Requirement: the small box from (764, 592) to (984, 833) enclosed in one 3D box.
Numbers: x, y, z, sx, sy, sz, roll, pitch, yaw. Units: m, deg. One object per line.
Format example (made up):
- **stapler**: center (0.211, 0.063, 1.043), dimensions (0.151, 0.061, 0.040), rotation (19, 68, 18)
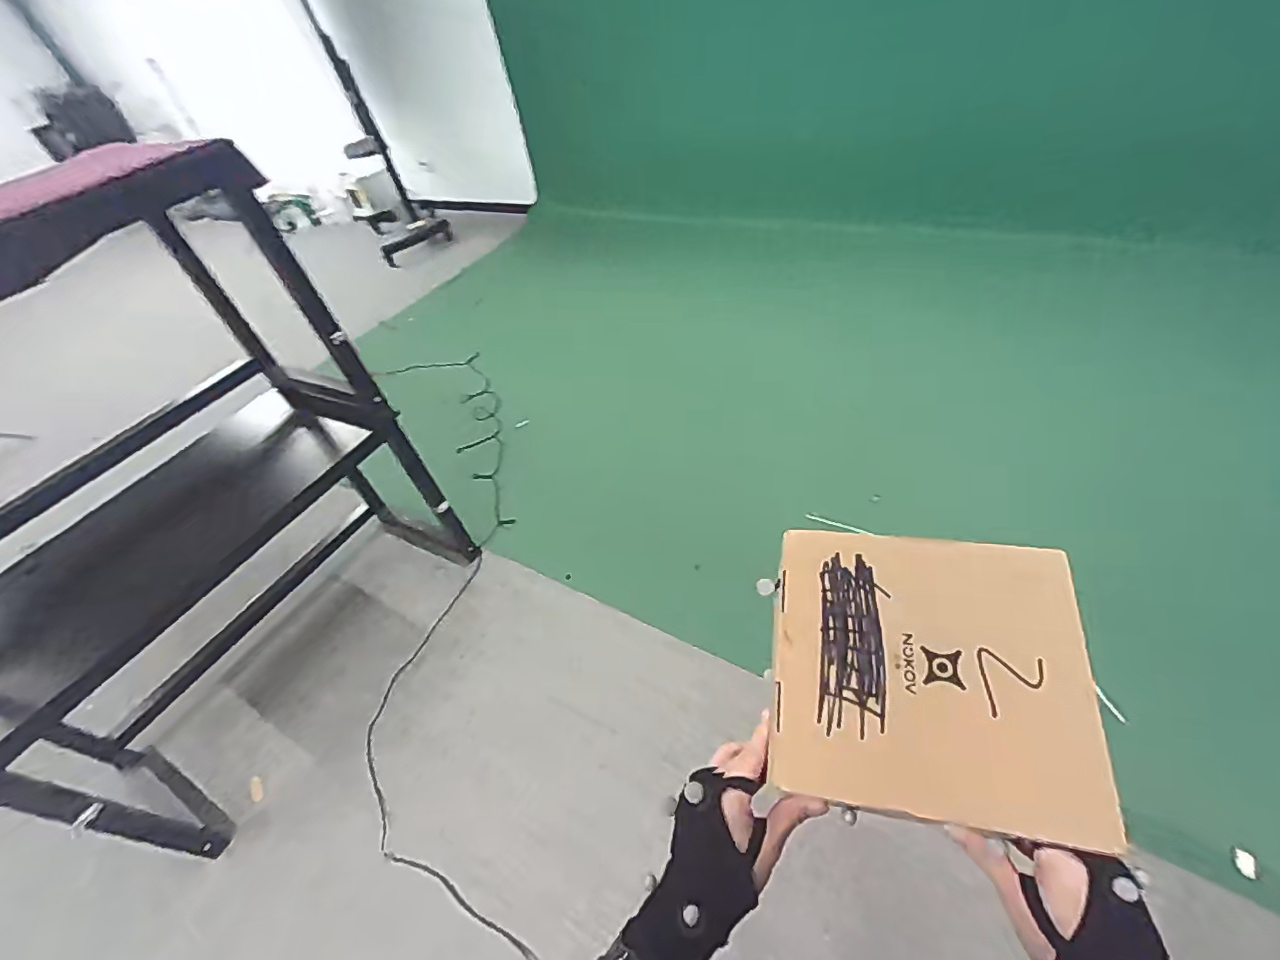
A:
- **small box**: center (0.214, 0.230, 0.539), dimensions (0.168, 0.176, 0.179), rotation (3, 61, 15)
